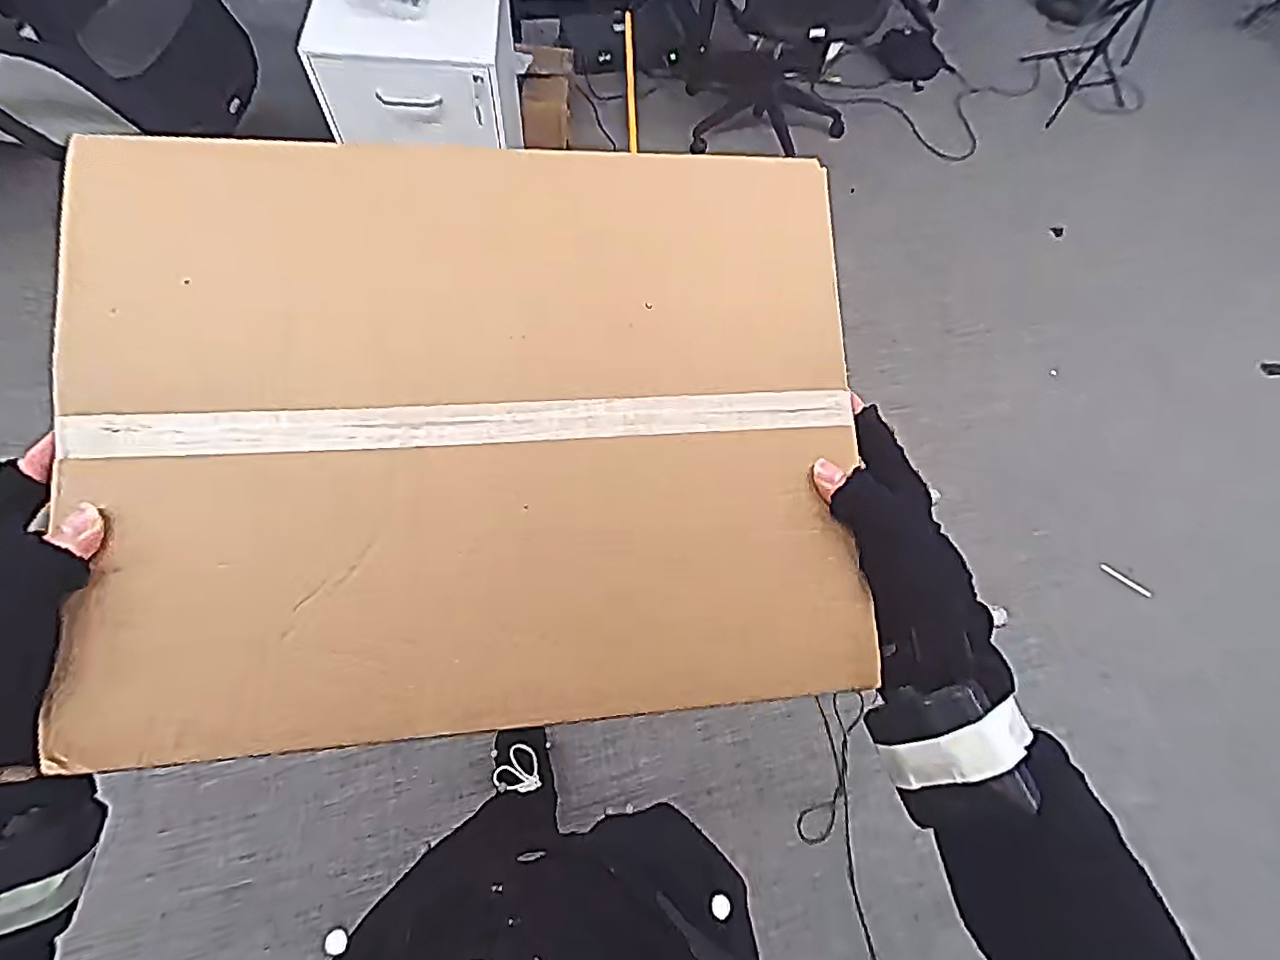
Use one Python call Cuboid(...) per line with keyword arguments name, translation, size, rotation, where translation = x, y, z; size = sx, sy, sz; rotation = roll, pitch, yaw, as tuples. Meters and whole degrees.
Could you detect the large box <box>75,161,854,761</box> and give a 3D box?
Cuboid(name="large box", translation=(-0.099, -0.014, 0.445), size=(0.408, 0.320, 0.320), rotation=(-2, 83, -8))
